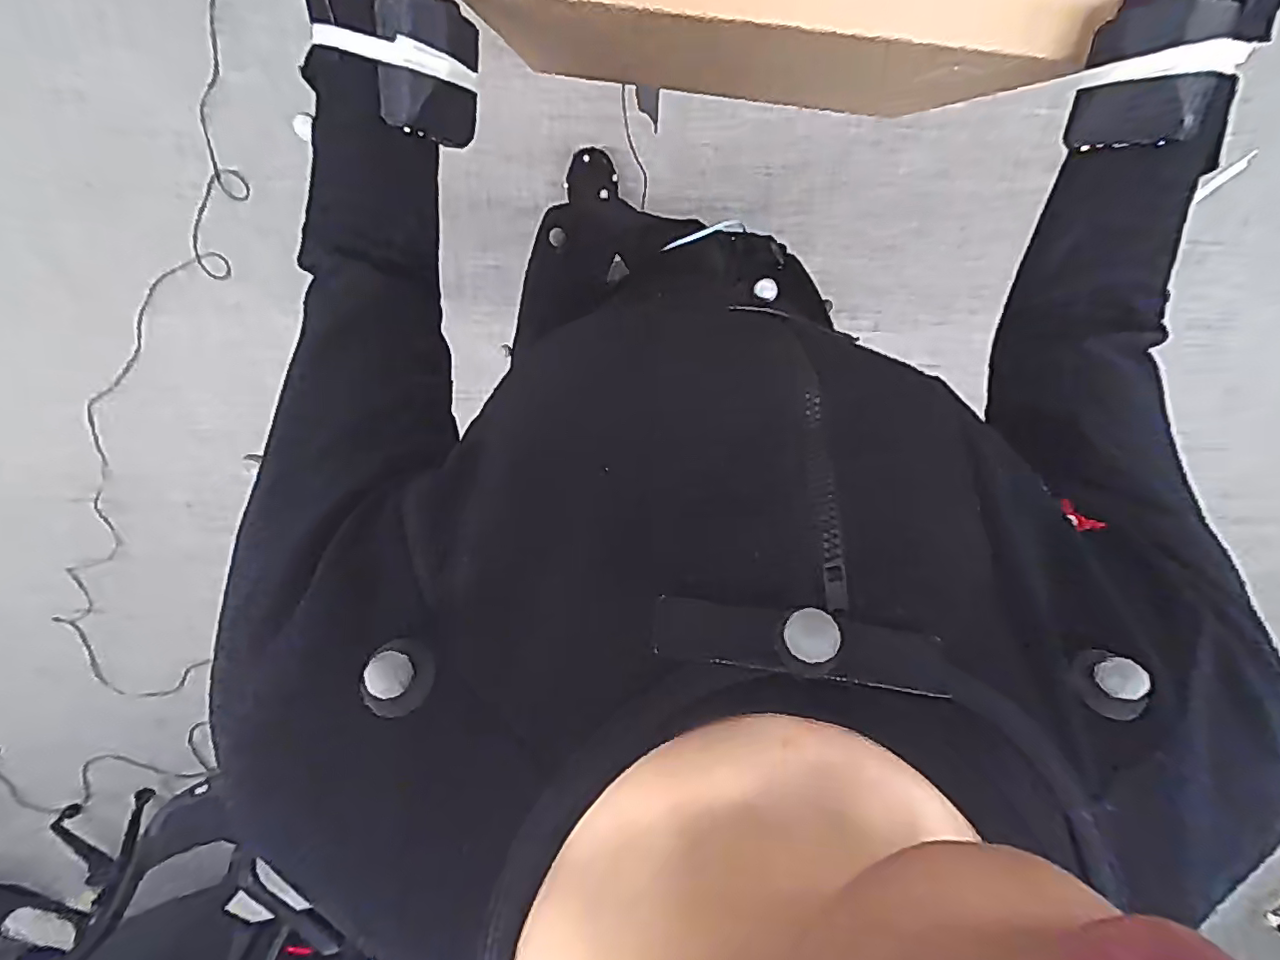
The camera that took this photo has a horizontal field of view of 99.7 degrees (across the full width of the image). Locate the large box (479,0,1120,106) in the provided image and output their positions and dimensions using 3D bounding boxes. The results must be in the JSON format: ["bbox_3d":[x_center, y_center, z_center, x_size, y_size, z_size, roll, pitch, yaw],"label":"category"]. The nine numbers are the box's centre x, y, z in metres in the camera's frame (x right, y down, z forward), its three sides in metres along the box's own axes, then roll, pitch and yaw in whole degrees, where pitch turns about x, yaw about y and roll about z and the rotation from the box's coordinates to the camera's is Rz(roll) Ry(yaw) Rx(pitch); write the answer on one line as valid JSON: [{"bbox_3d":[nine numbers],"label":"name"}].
[{"bbox_3d":[0.096,-0.481,0.380,0.408,0.320,0.320,4,120,-4],"label":"large box"}]
